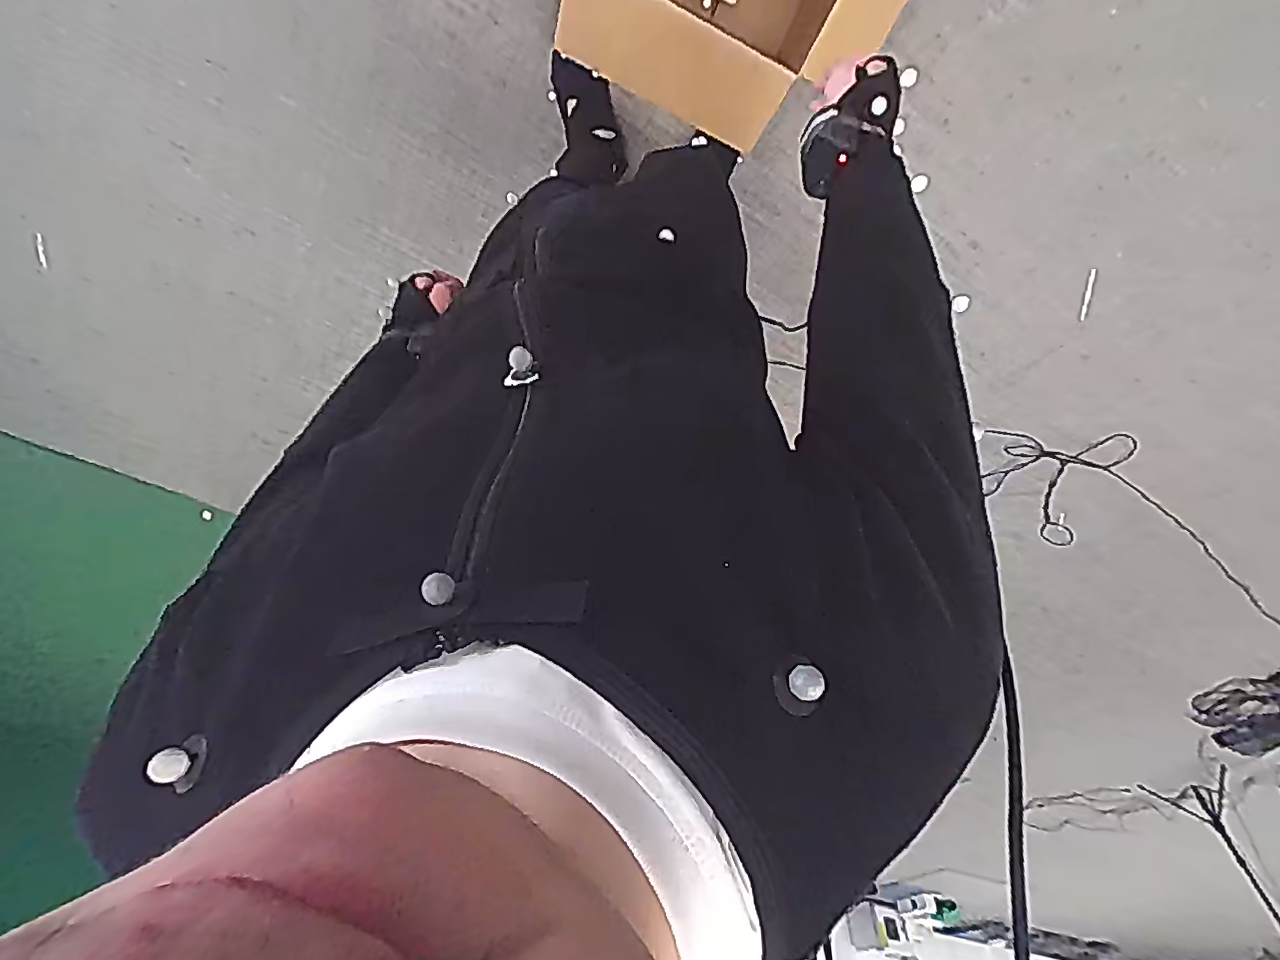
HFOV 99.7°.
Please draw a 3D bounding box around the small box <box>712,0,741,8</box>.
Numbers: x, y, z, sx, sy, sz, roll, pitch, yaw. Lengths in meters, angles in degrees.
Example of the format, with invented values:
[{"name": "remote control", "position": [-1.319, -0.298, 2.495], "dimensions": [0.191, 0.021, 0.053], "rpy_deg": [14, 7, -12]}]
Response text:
[{"name": "small box", "position": [0.103, -0.832, 0.794], "dimensions": [0.179, 0.176, 0.168], "rpy_deg": [21, 128, -6]}]
